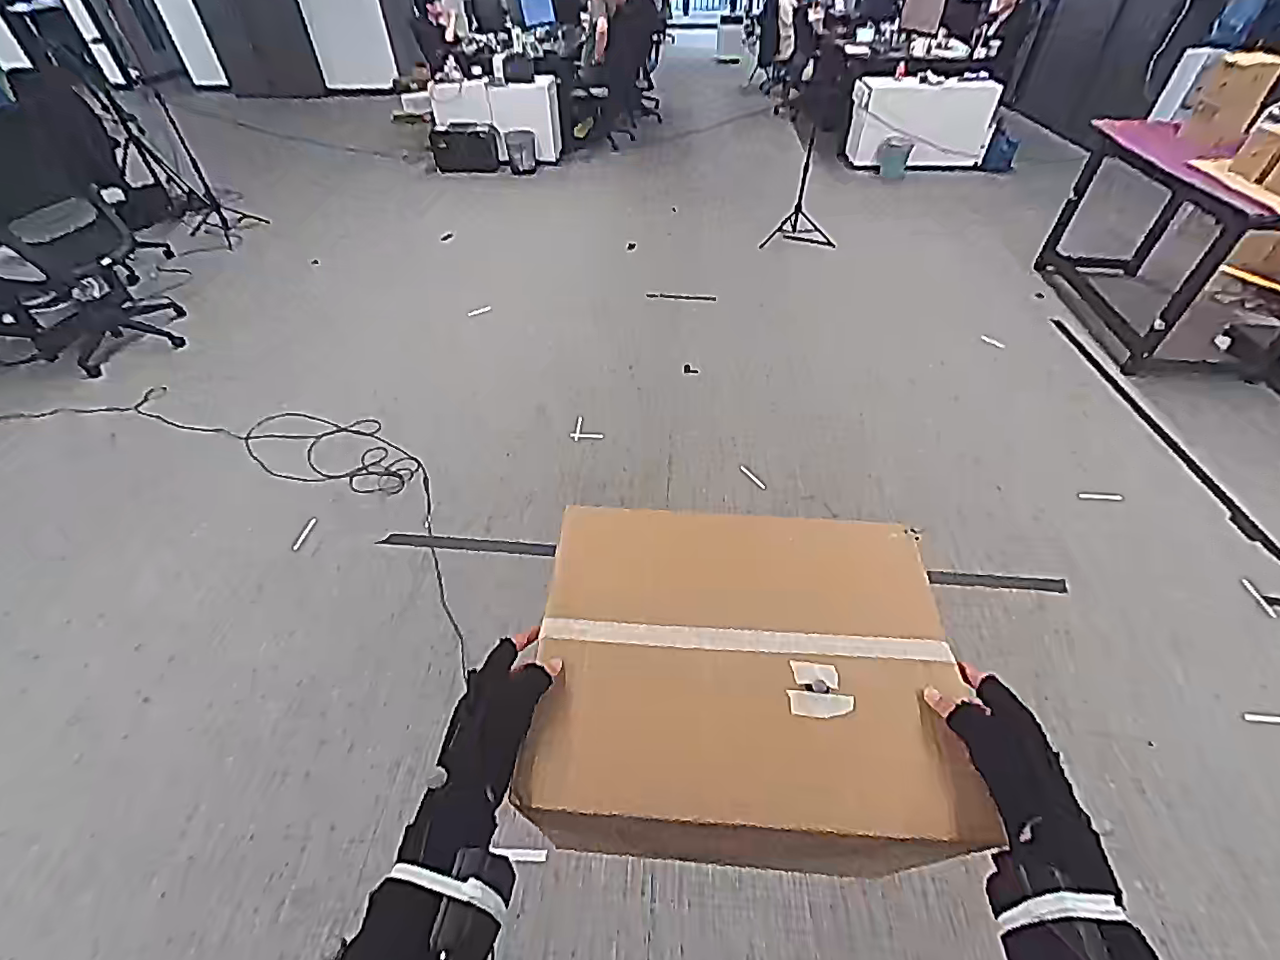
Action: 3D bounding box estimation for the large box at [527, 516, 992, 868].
[{"bbox_3d":[0.105,0.264,0.665,0.408,0.320,0.320,3,51,3],"label":"large box"}]
